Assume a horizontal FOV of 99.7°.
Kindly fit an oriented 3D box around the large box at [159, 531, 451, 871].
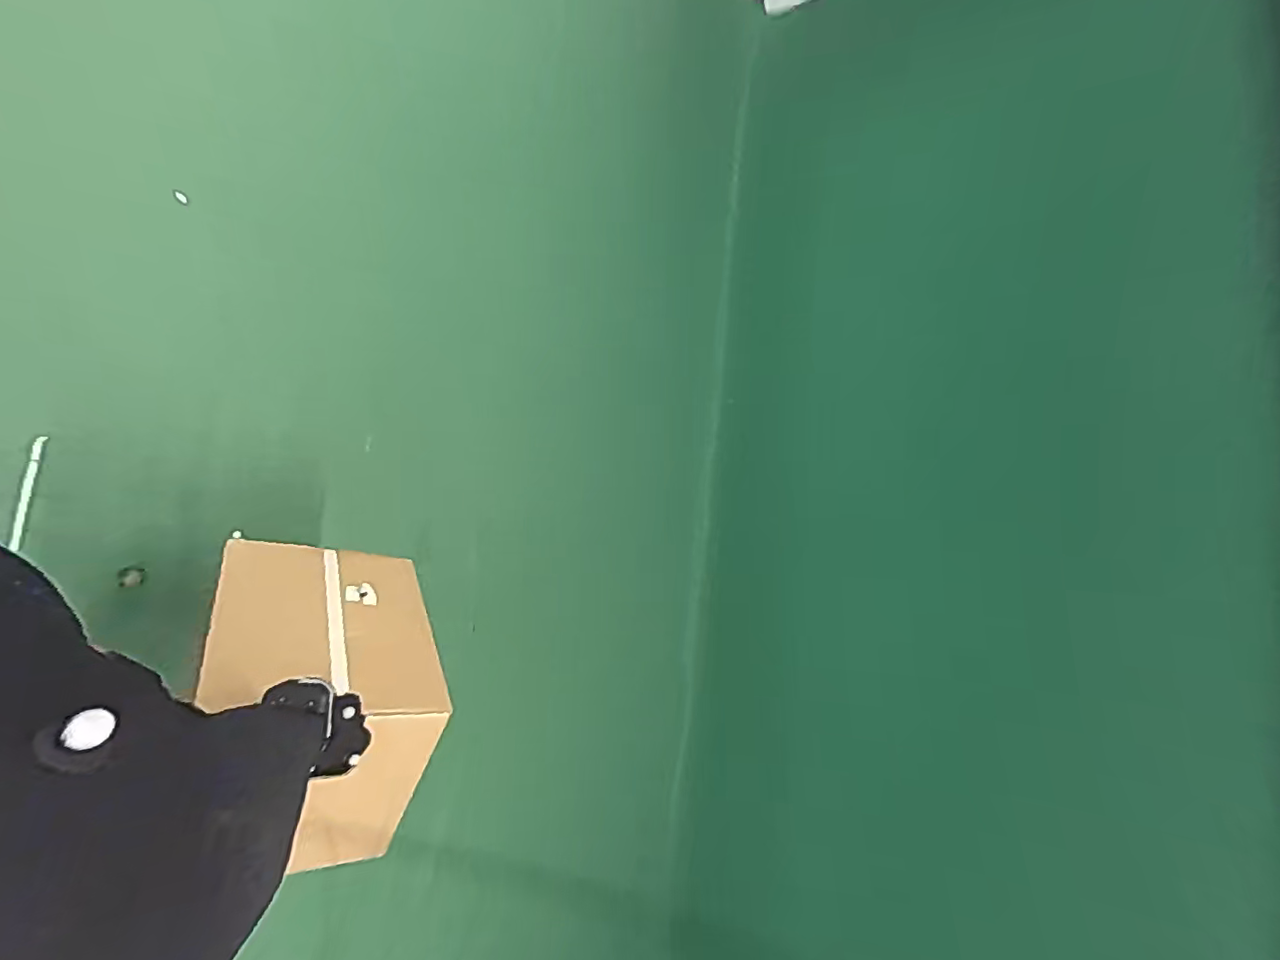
[{"bbox_3d":[-0.564,0.337,0.920,0.320,0.408,0.320,16,108,-38],"label":"large box"}]
